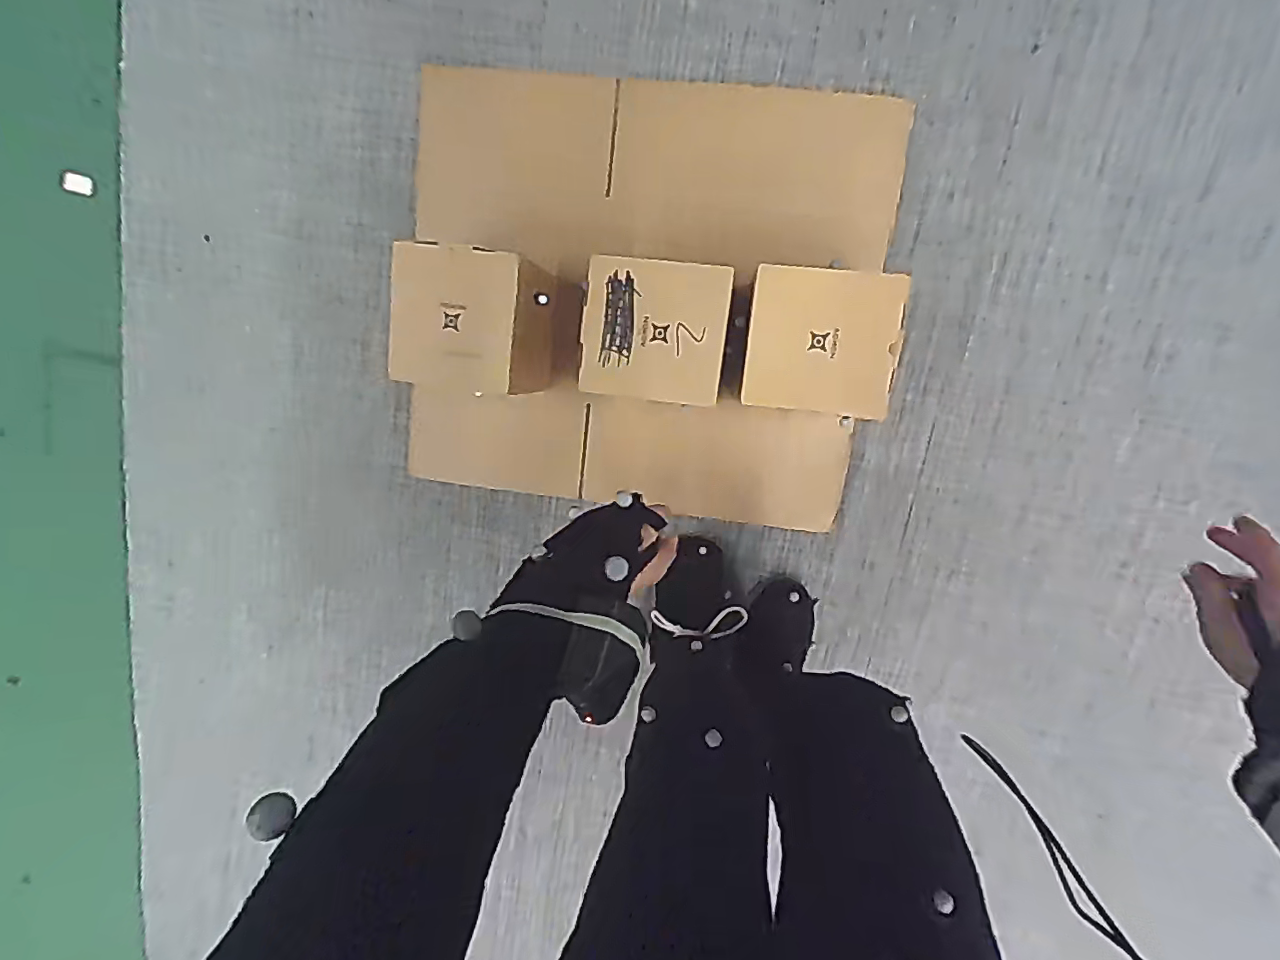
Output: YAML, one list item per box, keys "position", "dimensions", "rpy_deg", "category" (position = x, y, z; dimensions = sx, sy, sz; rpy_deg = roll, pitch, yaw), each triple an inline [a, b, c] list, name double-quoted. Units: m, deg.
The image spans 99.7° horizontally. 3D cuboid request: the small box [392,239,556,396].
- position: [-0.222, -0.218, 0.758]
  dimensions: [0.168, 0.176, 0.179]
  rpy_deg: [9, 102, 6]
  category: "small box"
